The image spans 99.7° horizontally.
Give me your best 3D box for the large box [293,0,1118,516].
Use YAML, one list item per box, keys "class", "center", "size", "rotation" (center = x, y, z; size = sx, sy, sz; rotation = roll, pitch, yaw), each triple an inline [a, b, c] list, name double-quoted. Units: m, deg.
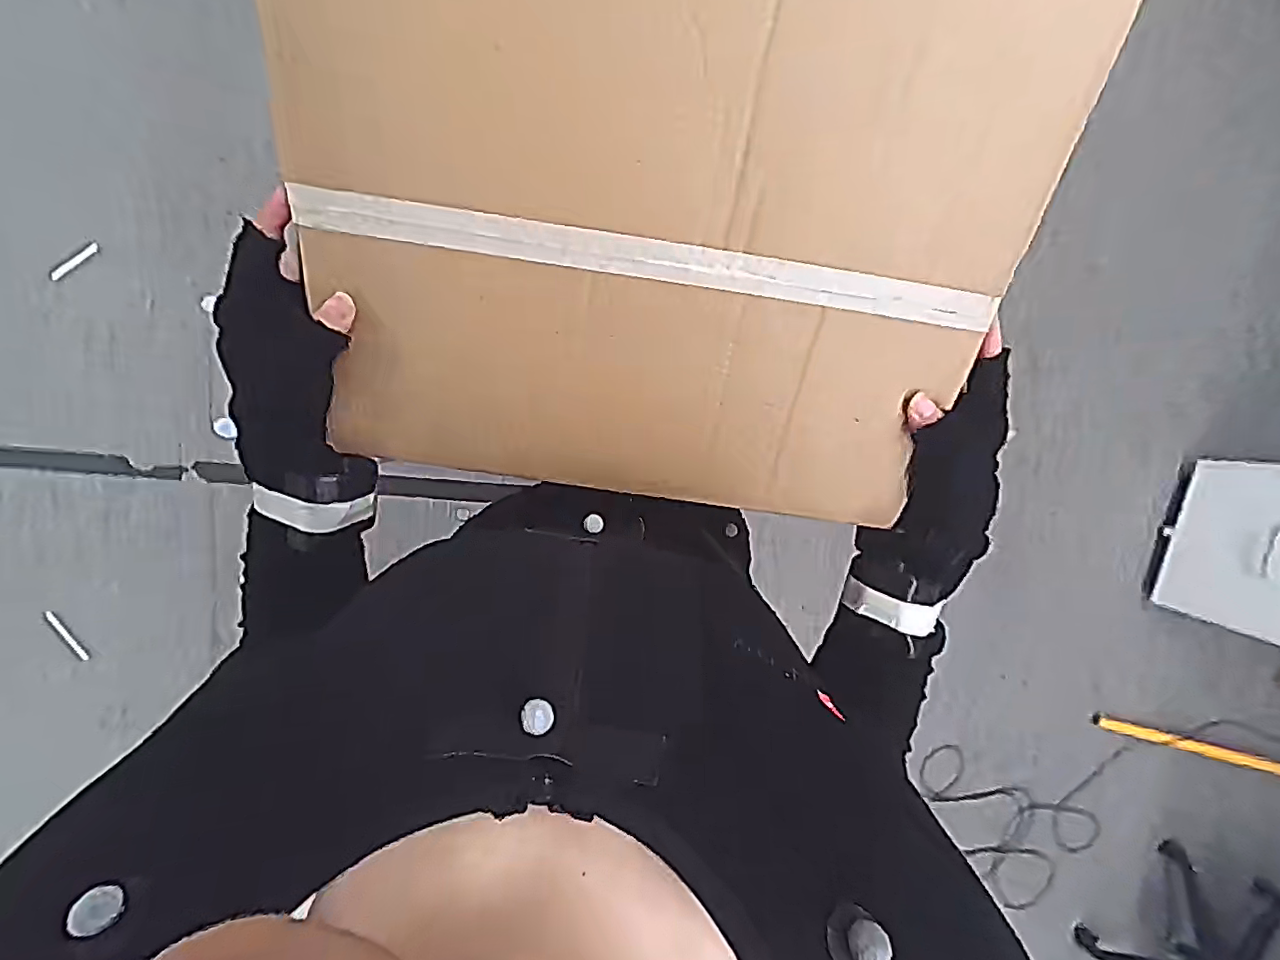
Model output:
- class: "large box"
  center: [0.014, -0.200, 0.449]
  size: [0.408, 0.320, 0.320]
  rotation: [8, 121, -3]
